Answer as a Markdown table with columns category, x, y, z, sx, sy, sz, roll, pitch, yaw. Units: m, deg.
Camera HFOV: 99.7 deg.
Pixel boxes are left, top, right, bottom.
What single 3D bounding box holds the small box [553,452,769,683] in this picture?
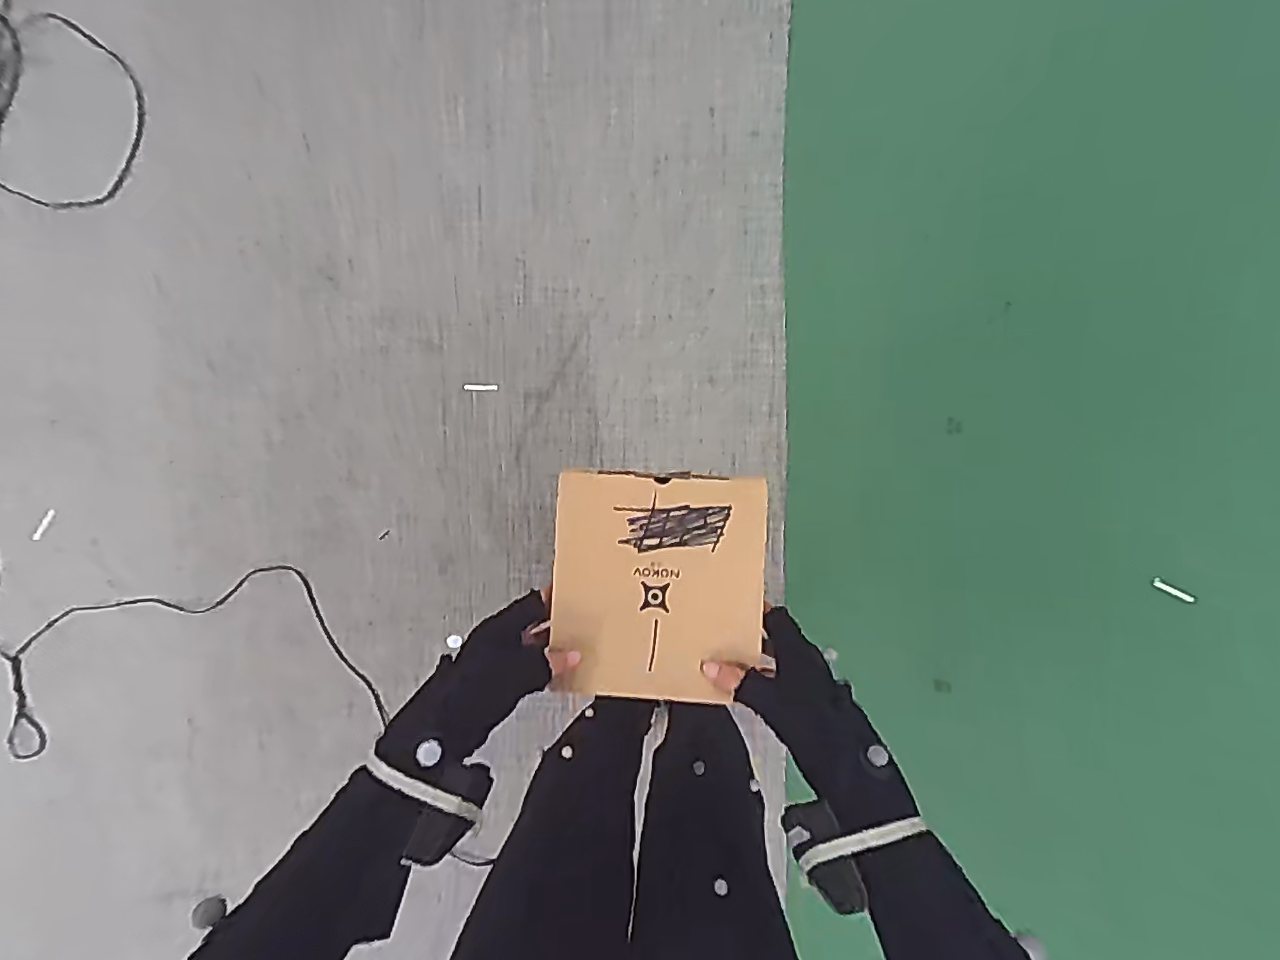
| category | x | y | z | sx | sy | sz | roll | pitch | yaw |
| --- | --- | --- | --- | --- | --- | --- | --- | --- | --- |
| small box | 0.021 | 0.071 | 0.509 | 0.168 | 0.176 | 0.179 | 3 | 89 | 4 |
